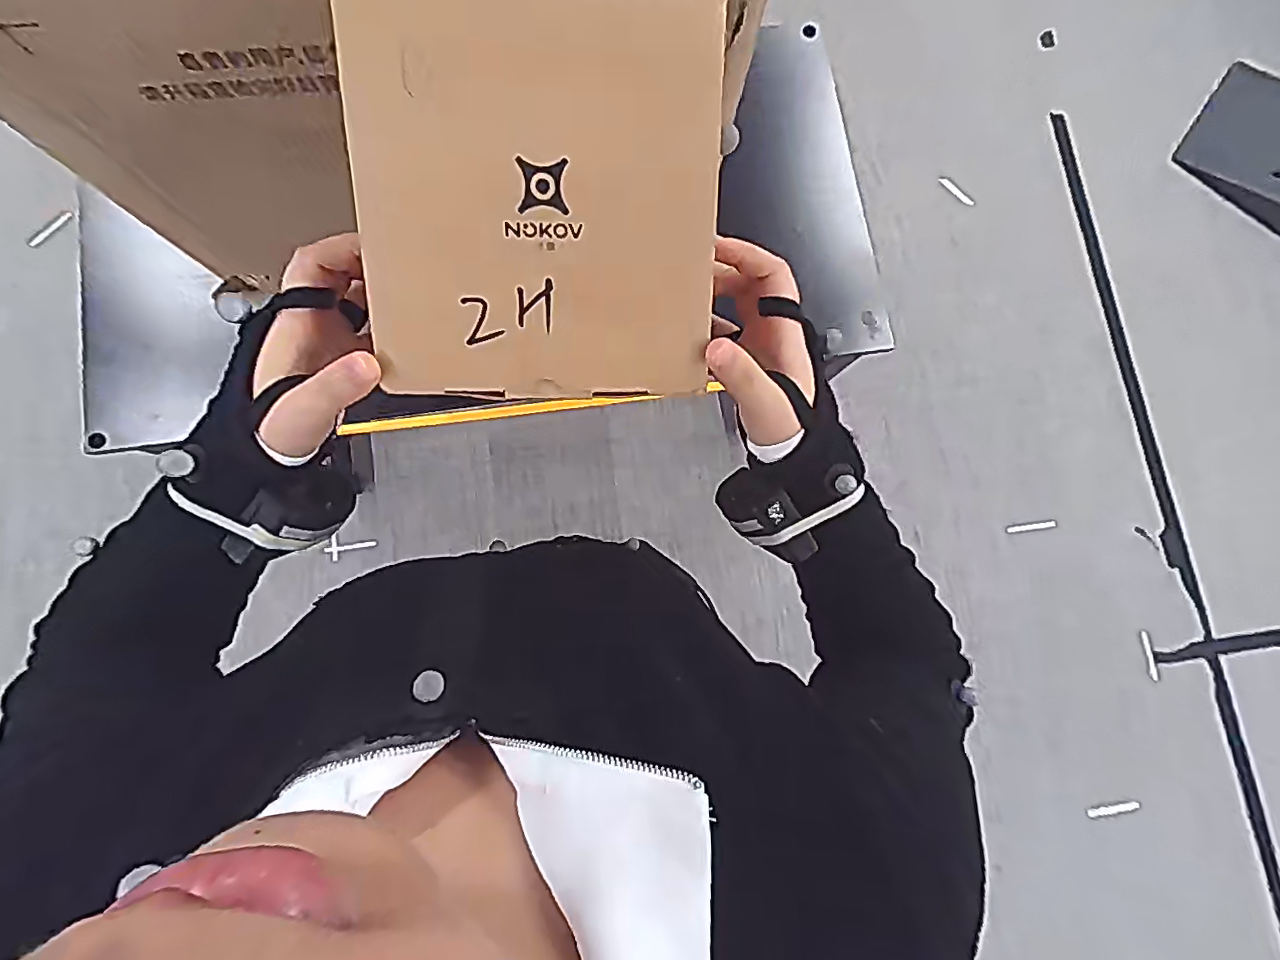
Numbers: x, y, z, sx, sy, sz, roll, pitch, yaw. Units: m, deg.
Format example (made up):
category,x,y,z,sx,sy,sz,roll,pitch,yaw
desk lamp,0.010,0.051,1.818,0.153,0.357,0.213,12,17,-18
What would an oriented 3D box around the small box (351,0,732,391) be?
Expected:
category,x,y,z,sx,sy,sz,roll,pitch,yaw
small box,-0.049,-0.151,0.328,0.168,0.176,0.179,0,106,-4
